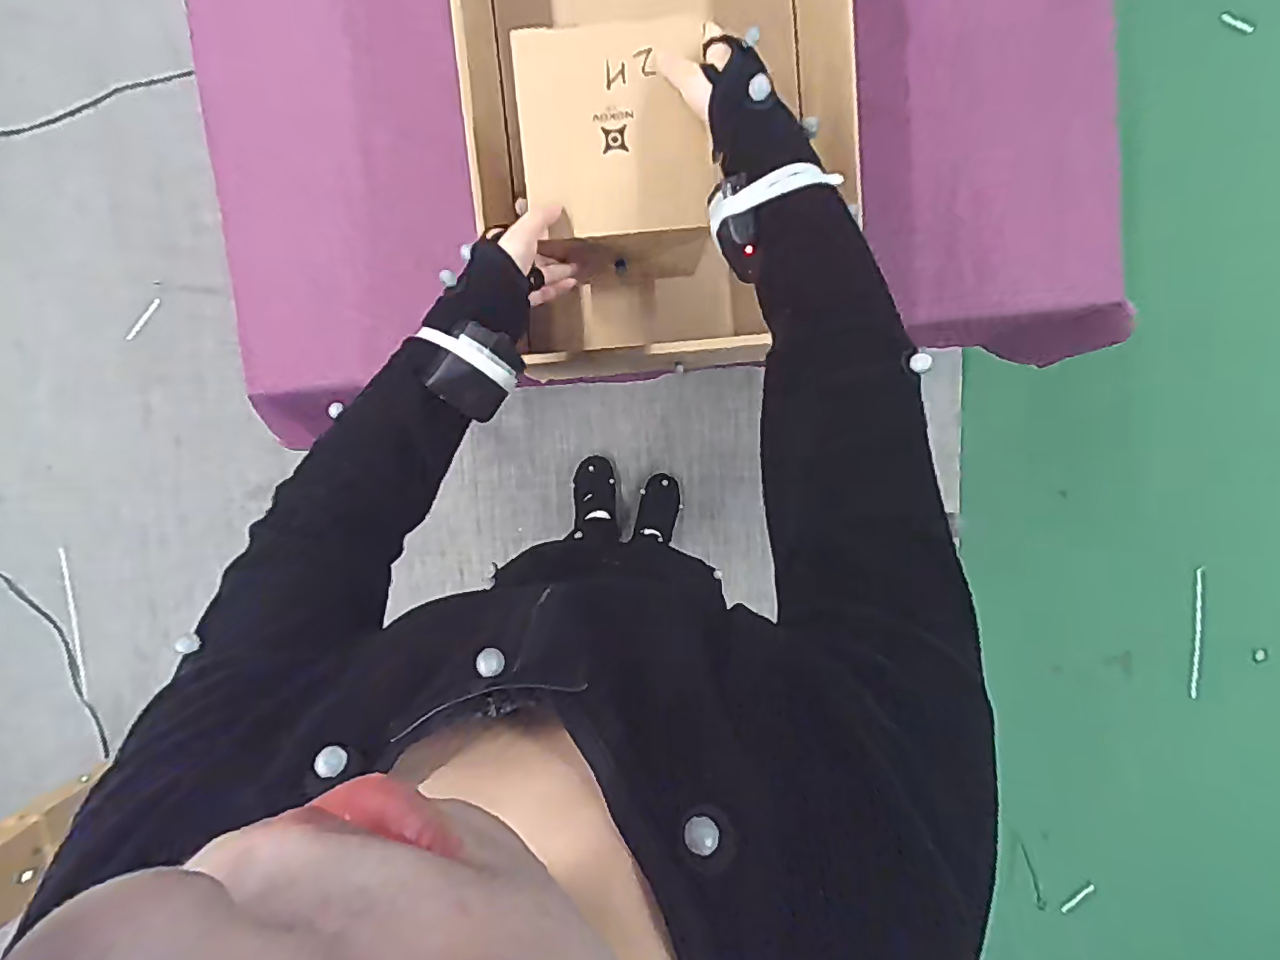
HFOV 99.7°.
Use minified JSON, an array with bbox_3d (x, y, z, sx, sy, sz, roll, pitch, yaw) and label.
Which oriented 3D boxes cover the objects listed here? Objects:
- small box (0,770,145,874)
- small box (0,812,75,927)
[{"bbox_3d":[-1.433,0.871,1.376,0.168,0.176,0.179,-16,95,4],"label":"small box"},{"bbox_3d":[-1.454,0.888,1.215,0.179,0.176,0.168,-12,94,2],"label":"small box"}]
